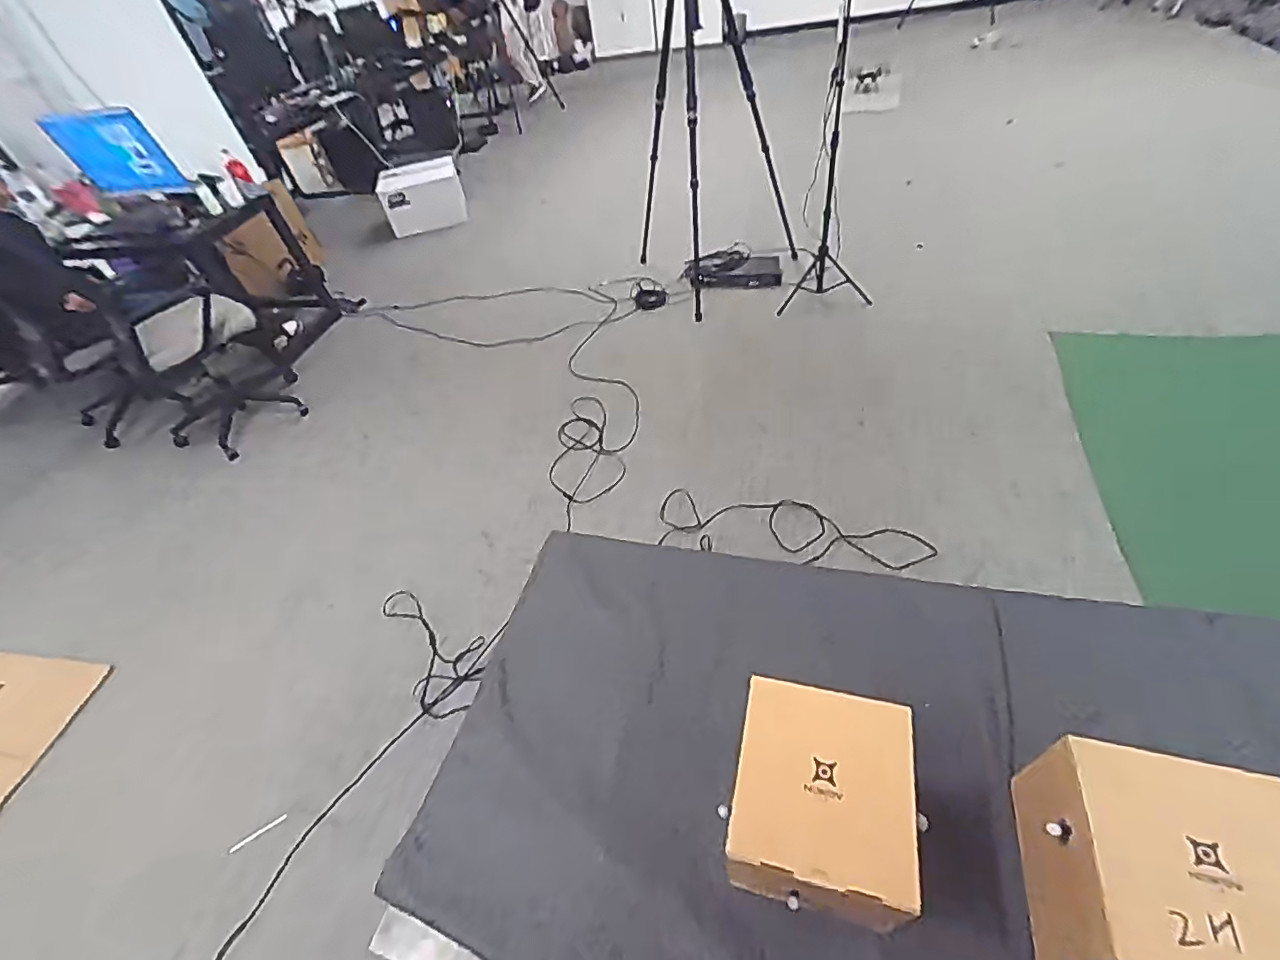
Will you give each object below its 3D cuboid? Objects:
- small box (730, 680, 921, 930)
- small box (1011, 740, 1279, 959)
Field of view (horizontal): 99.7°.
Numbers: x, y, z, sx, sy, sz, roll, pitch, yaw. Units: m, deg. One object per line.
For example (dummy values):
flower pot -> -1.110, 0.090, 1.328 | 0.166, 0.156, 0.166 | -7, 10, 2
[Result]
small box -> 0.191, 0.350, 0.587 | 0.168, 0.176, 0.179 | 7, 49, 16
small box -> 0.476, 0.379, 0.505 | 0.168, 0.176, 0.179 | 7, 49, 17
